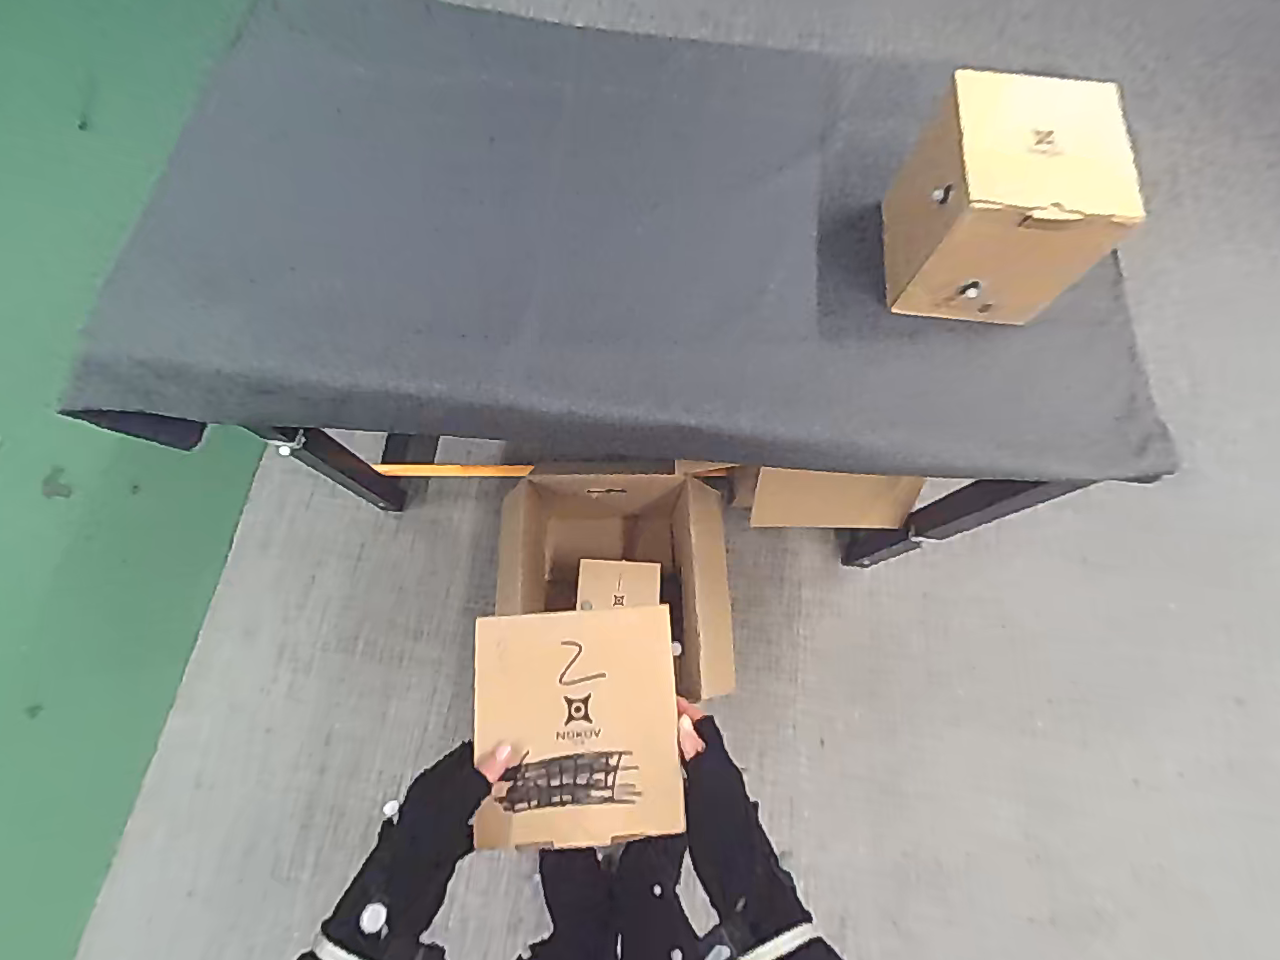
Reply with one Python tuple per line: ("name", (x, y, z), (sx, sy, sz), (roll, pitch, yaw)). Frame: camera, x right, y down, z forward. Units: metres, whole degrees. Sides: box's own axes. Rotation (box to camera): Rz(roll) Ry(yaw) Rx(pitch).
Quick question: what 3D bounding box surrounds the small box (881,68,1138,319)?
("small box", (0.386, -0.309, 0.604), (0.168, 0.176, 0.179), (5, 73, 0))
